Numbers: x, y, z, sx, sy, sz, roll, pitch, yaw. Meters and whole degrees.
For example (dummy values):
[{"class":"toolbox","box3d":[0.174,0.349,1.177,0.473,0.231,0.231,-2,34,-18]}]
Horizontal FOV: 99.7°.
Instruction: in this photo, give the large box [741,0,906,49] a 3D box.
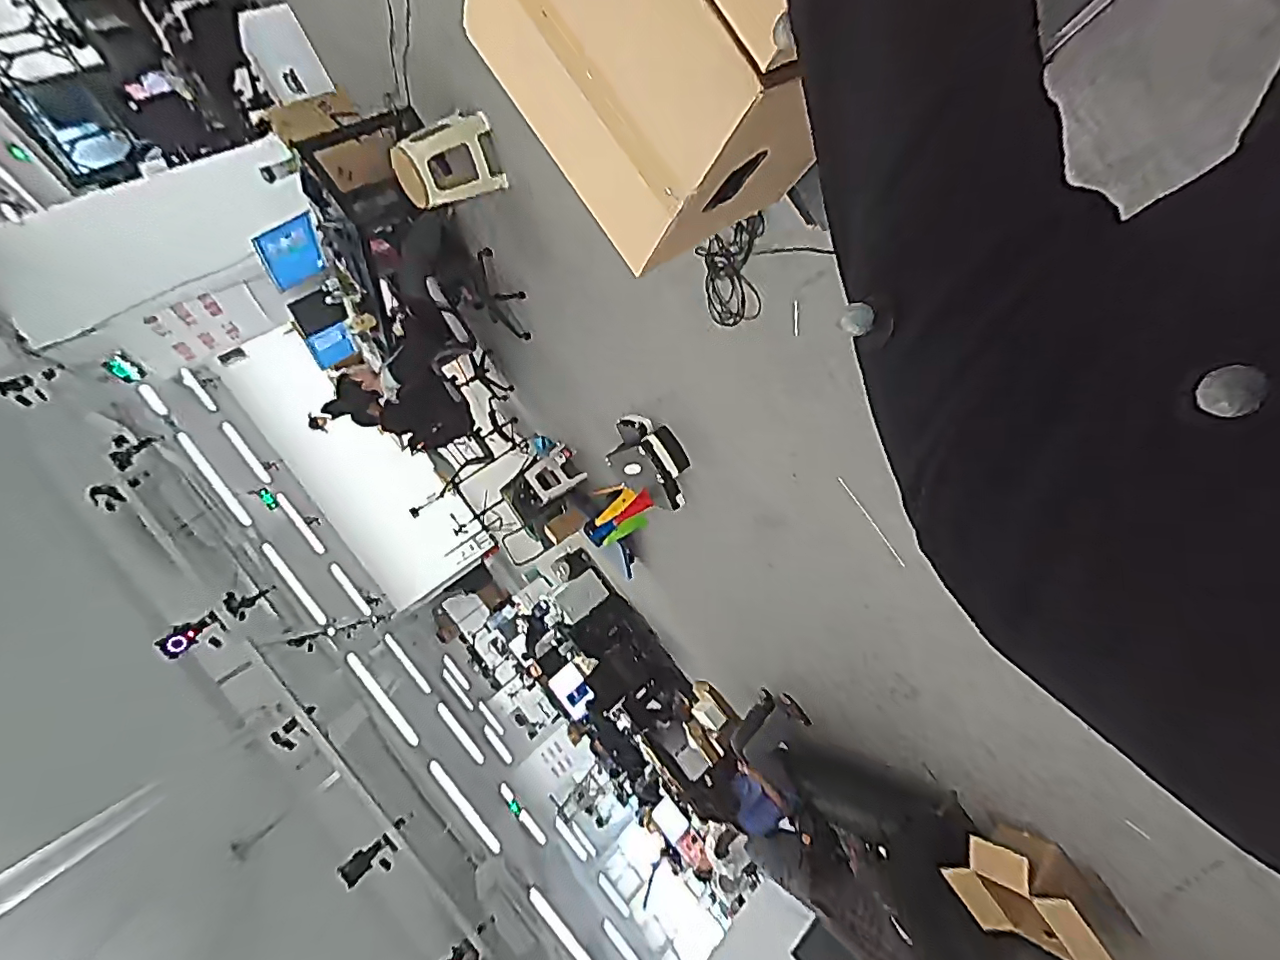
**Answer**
[{"class":"large box","box3d":[0.157,-0.628,0.363,0.408,0.320,0.320,53,158,-3]}]
